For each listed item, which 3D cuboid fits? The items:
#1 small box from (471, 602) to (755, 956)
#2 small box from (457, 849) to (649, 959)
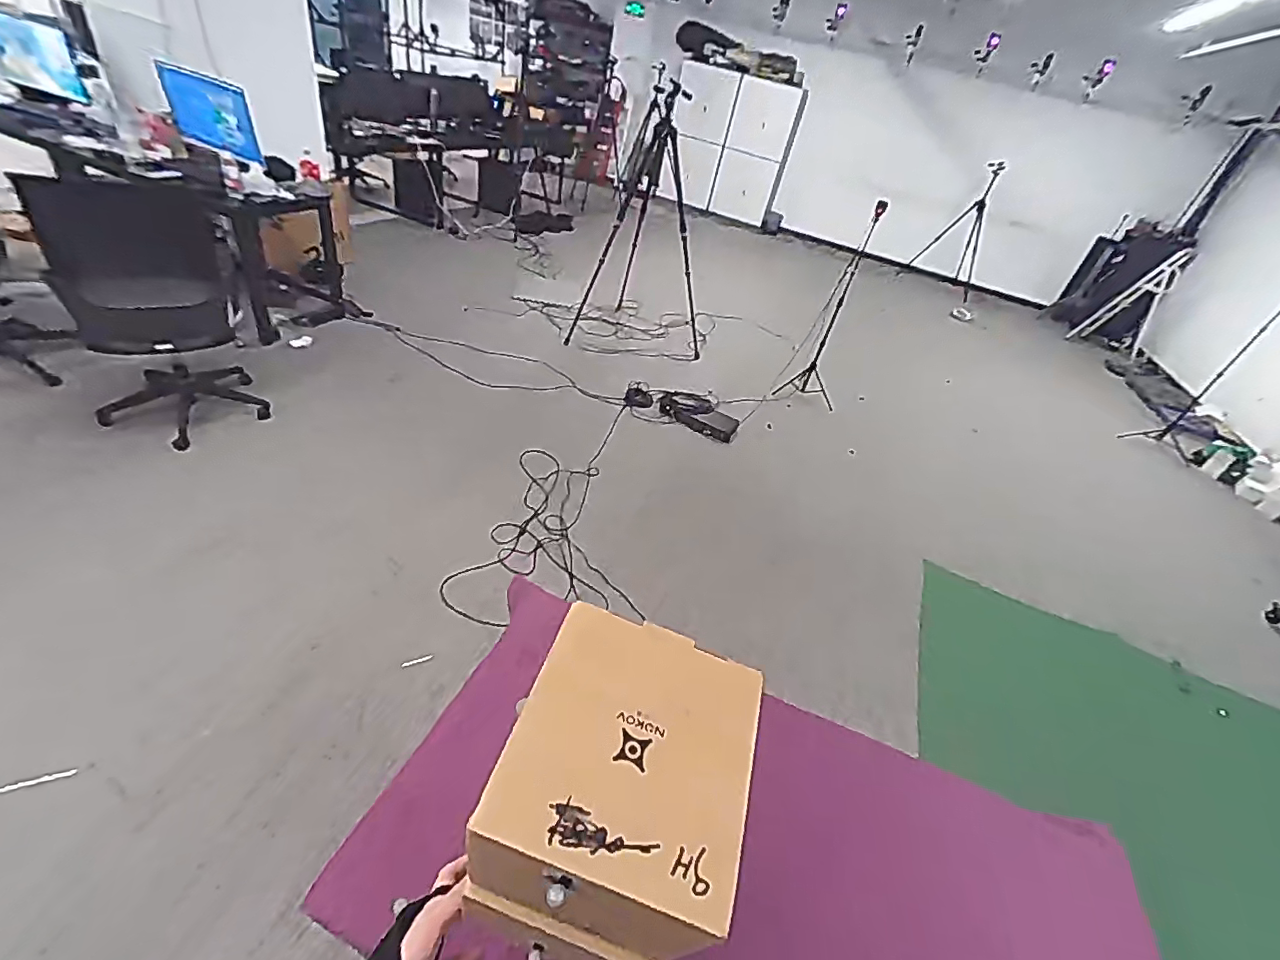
[{"bbox_3d":[-0.023,0.239,0.437,0.168,0.176,0.179,20,43,5],"label":"small box"},{"bbox_3d":[-0.062,0.360,0.541,0.168,0.176,0.179,21,43,4],"label":"small box"}]
